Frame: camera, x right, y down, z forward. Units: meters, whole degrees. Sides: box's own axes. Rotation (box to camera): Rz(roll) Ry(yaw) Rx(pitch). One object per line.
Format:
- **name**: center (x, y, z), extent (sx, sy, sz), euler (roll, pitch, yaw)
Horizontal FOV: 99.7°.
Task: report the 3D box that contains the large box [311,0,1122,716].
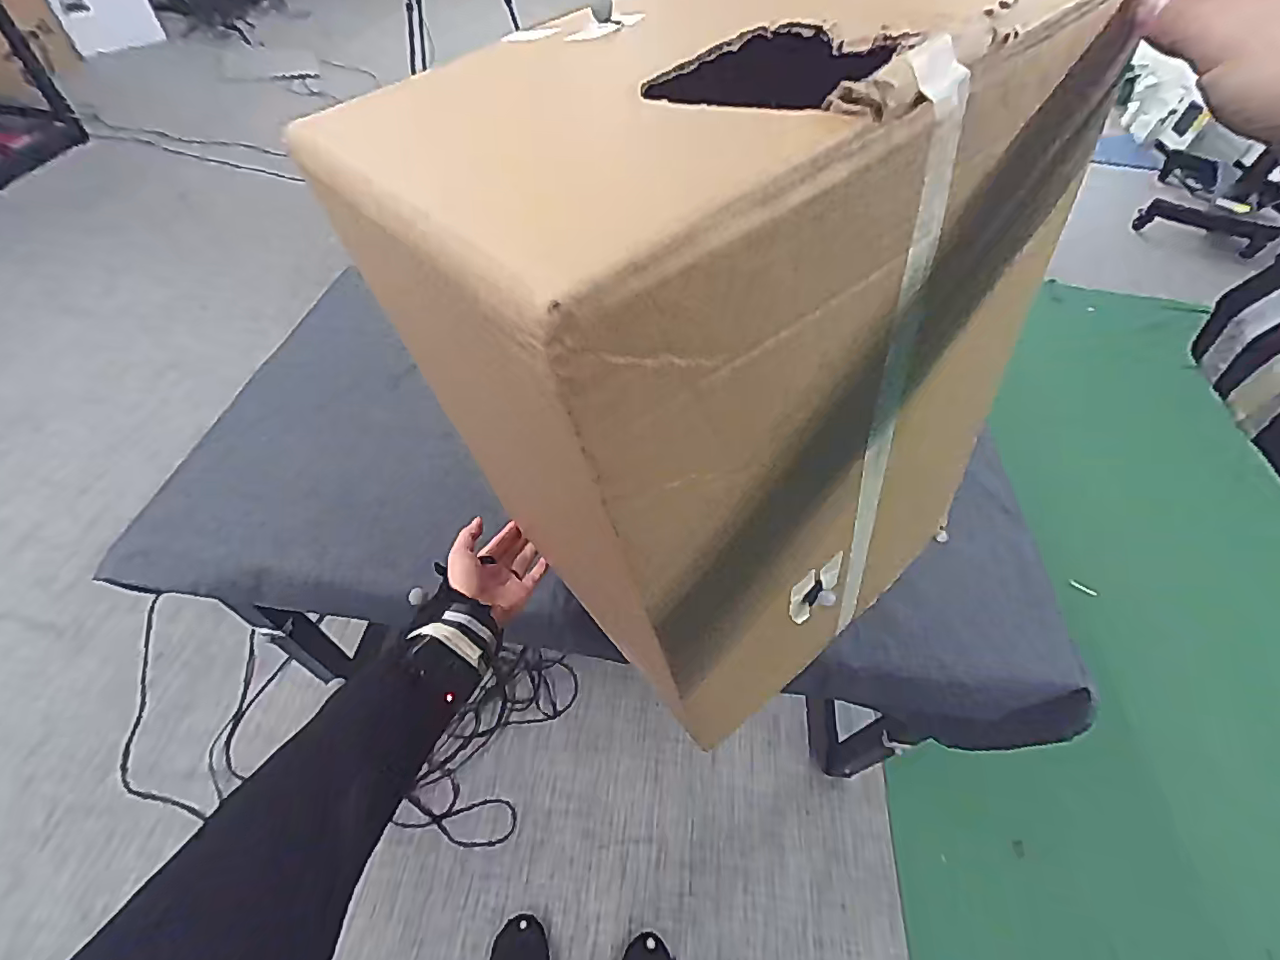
- **large box**: center (0.042, -0.088, 0.429), extent (0.320, 0.408, 0.320), euler (-37, 53, -16)
